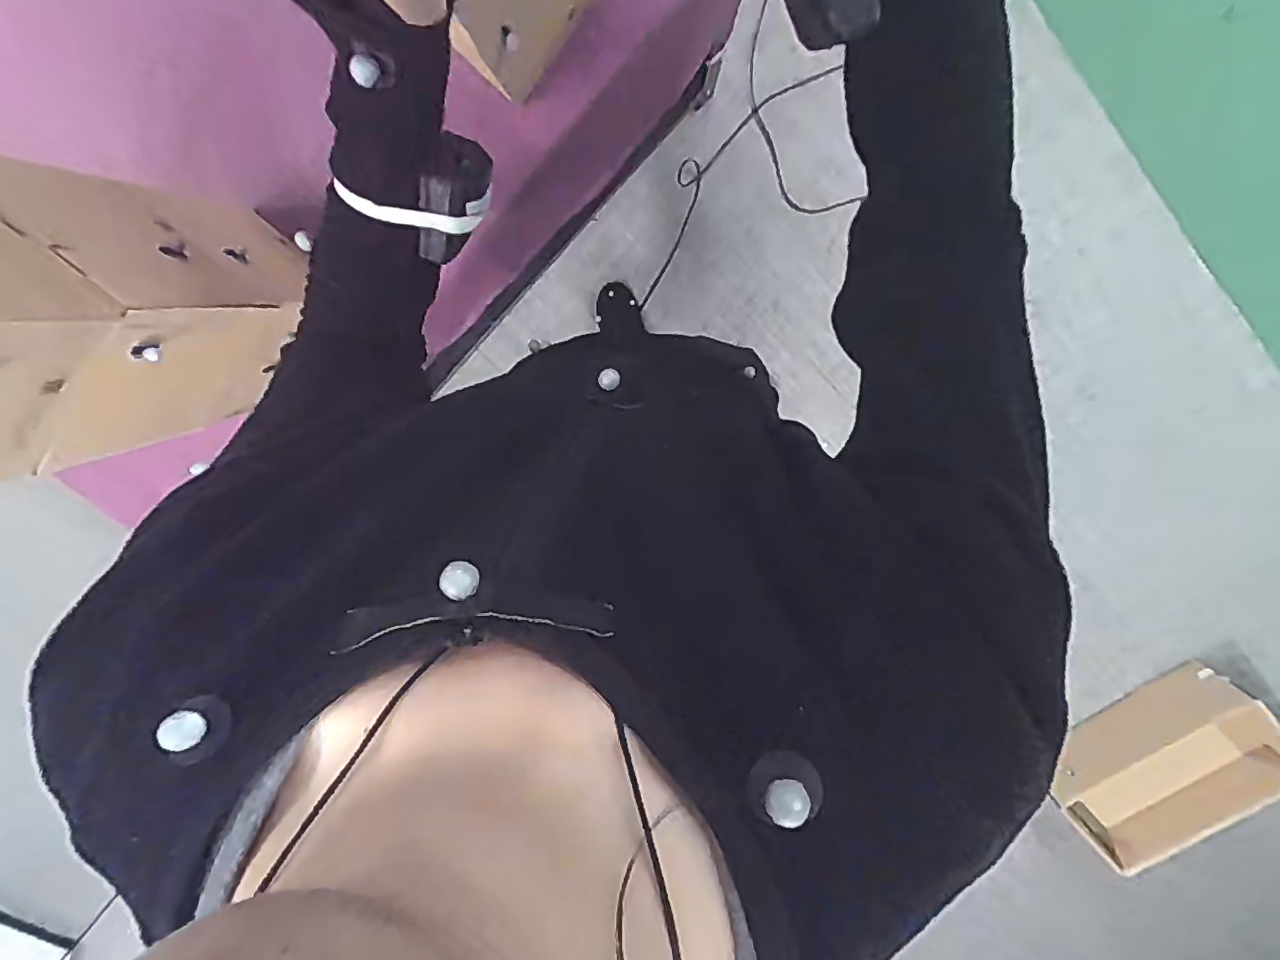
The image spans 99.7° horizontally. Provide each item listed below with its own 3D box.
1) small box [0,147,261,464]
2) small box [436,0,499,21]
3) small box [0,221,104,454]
[{"bbox_3d":[-0.480,-0.145,0.462,0.168,0.176,0.179,41,104,-11],"label":"small box"},{"bbox_3d":[-0.154,-0.459,0.344,0.179,0.176,0.168,40,106,-10],"label":"small box"},{"bbox_3d":[-0.485,-0.098,0.307,0.179,0.176,0.168,44,103,-11],"label":"small box"}]
